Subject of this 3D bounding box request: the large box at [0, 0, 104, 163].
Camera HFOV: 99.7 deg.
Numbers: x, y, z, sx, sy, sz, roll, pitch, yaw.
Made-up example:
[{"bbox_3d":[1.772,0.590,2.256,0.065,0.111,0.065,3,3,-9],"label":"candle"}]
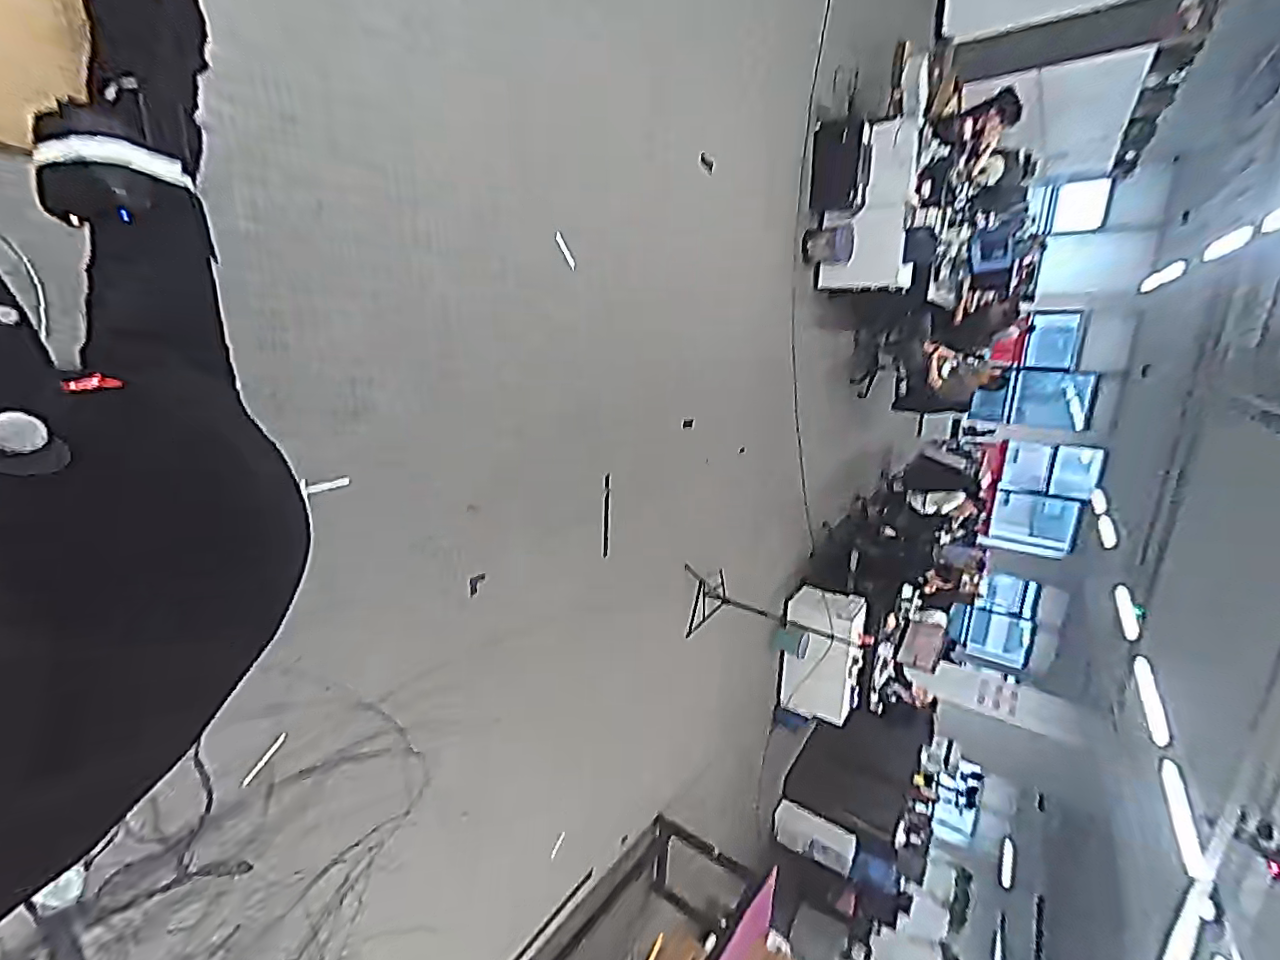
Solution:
[{"bbox_3d":[-0.620,-0.412,0.291,0.408,0.320,0.320,-11,119,-57],"label":"large box"}]
